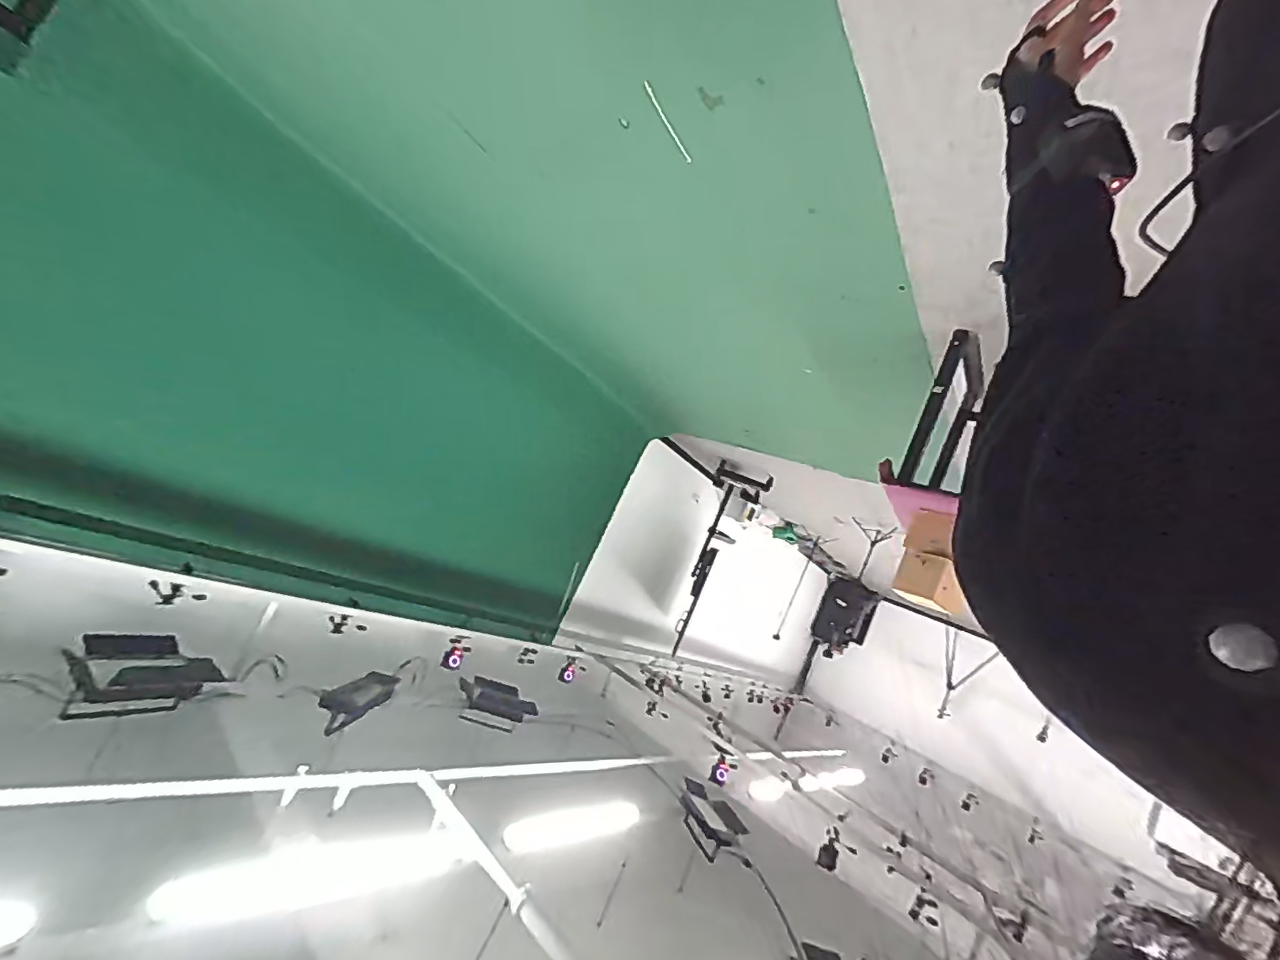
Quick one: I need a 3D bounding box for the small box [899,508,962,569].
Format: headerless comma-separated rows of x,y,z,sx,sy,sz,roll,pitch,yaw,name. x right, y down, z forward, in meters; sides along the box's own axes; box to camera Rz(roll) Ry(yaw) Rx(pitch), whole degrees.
1.118,0.222,2.071,0.179,0.176,0.168,19,171,37,small box
